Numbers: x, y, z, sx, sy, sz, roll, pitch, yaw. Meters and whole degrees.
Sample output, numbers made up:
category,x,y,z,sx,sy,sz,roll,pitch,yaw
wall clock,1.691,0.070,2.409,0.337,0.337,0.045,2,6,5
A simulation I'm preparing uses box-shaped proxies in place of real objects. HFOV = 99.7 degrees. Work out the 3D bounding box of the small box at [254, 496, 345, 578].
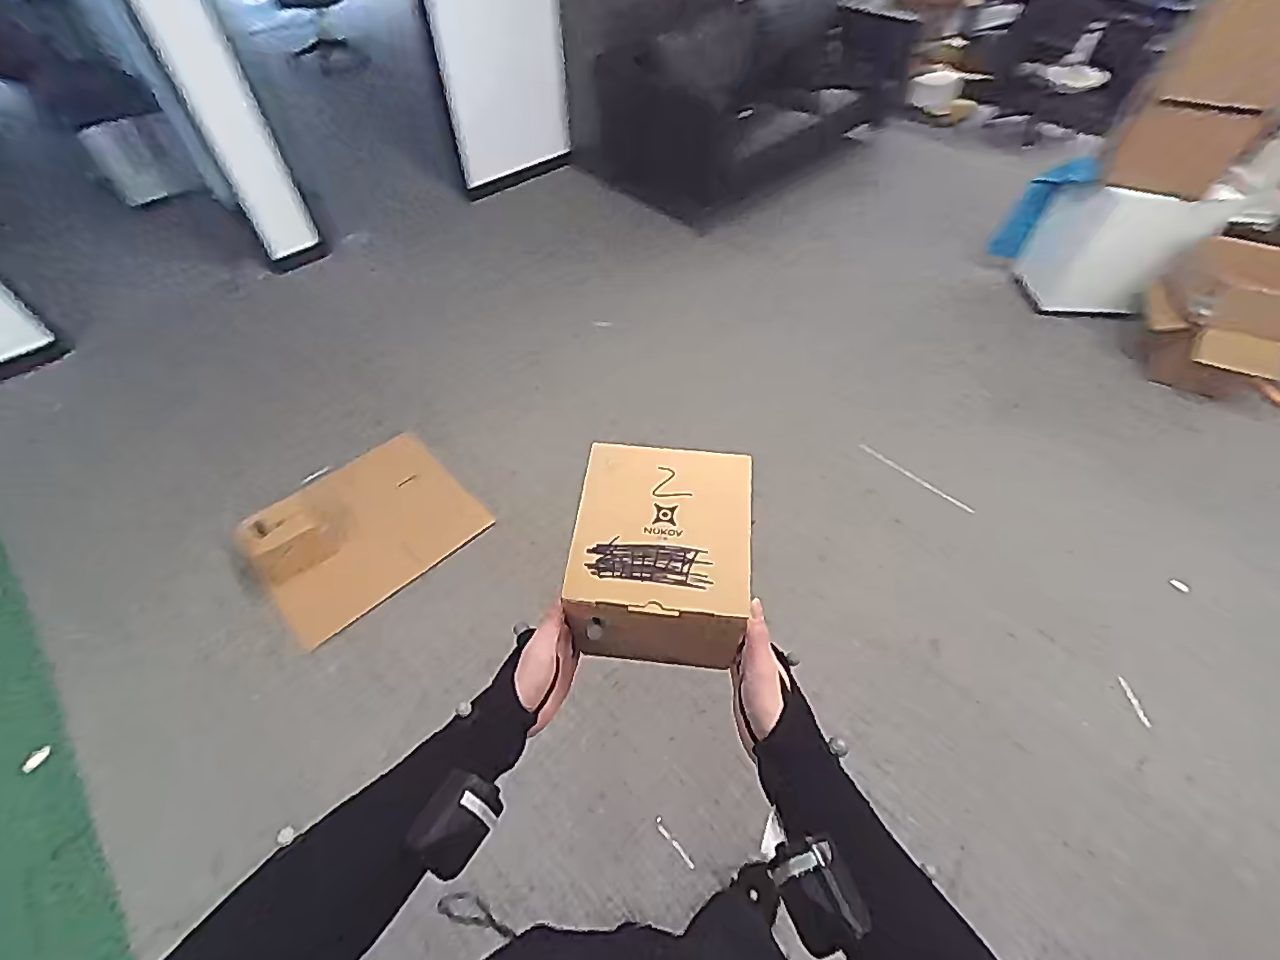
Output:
category,x,y,z,sx,sy,sz,roll,pitch,yaw
small box,-1.114,0.191,1.778,0.179,0.176,0.168,-32,59,-24
